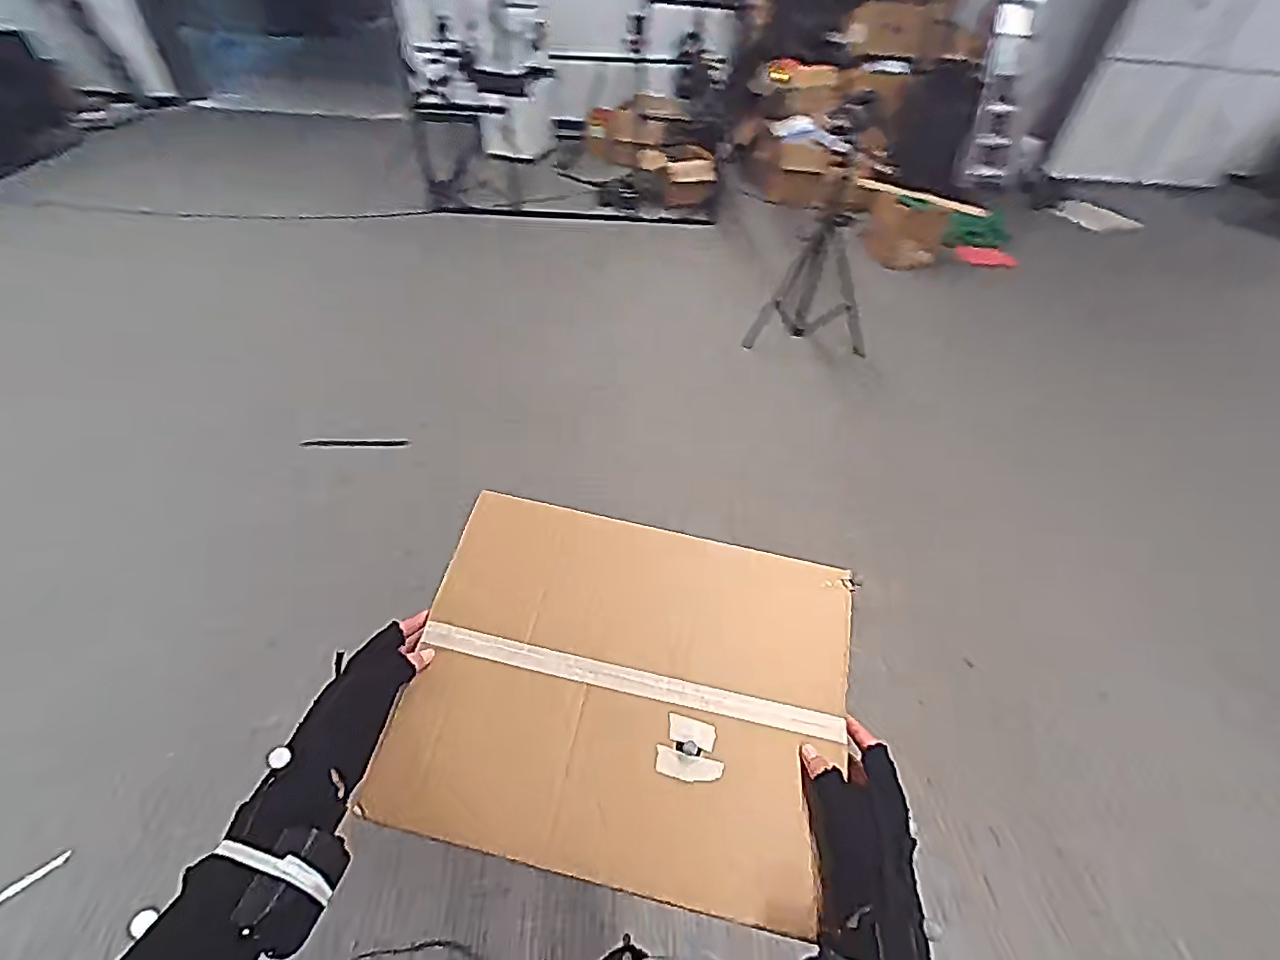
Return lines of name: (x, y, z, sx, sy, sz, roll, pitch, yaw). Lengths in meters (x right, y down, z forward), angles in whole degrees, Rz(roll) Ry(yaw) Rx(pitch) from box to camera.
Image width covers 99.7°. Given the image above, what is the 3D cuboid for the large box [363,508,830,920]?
large box: (-0.026, 0.266, 0.652, 0.408, 0.320, 0.320, 11, 62, 3)
